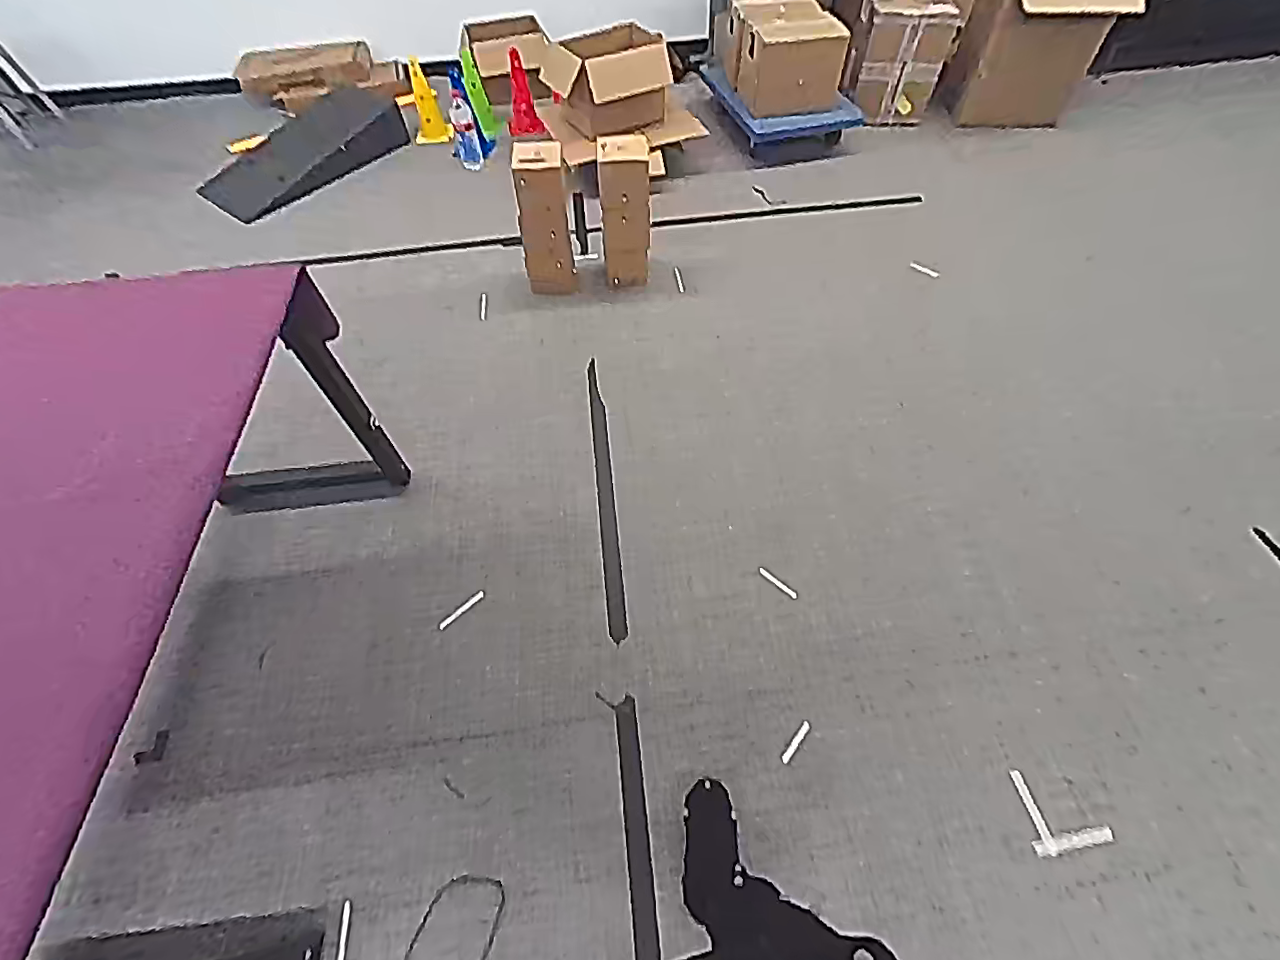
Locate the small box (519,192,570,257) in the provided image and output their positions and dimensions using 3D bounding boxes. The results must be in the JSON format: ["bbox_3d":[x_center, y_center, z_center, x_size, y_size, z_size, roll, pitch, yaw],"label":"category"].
[{"bbox_3d":[-0.355,-0.959,2.043,0.168,0.176,0.179,-2,55,-2],"label":"small box"}]

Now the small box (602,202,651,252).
[{"bbox_3d":[-0.052,-0.985,2.050,0.179,0.176,0.168,-5,57,-3],"label":"small box"}]

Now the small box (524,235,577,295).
[{"bbox_3d":[-0.356,-0.861,2.173,0.179,0.176,0.168,-2,56,0],"label":"small box"}]

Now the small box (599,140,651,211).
[{"bbox_3d":[-0.054,-1.073,1.912,0.179,0.176,0.168,-2,56,-1],"label":"small box"}]

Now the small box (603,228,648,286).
[{"bbox_3d":[-0.056,-0.906,2.196,0.168,0.176,0.179,-7,56,-4],"label":"small box"}]
